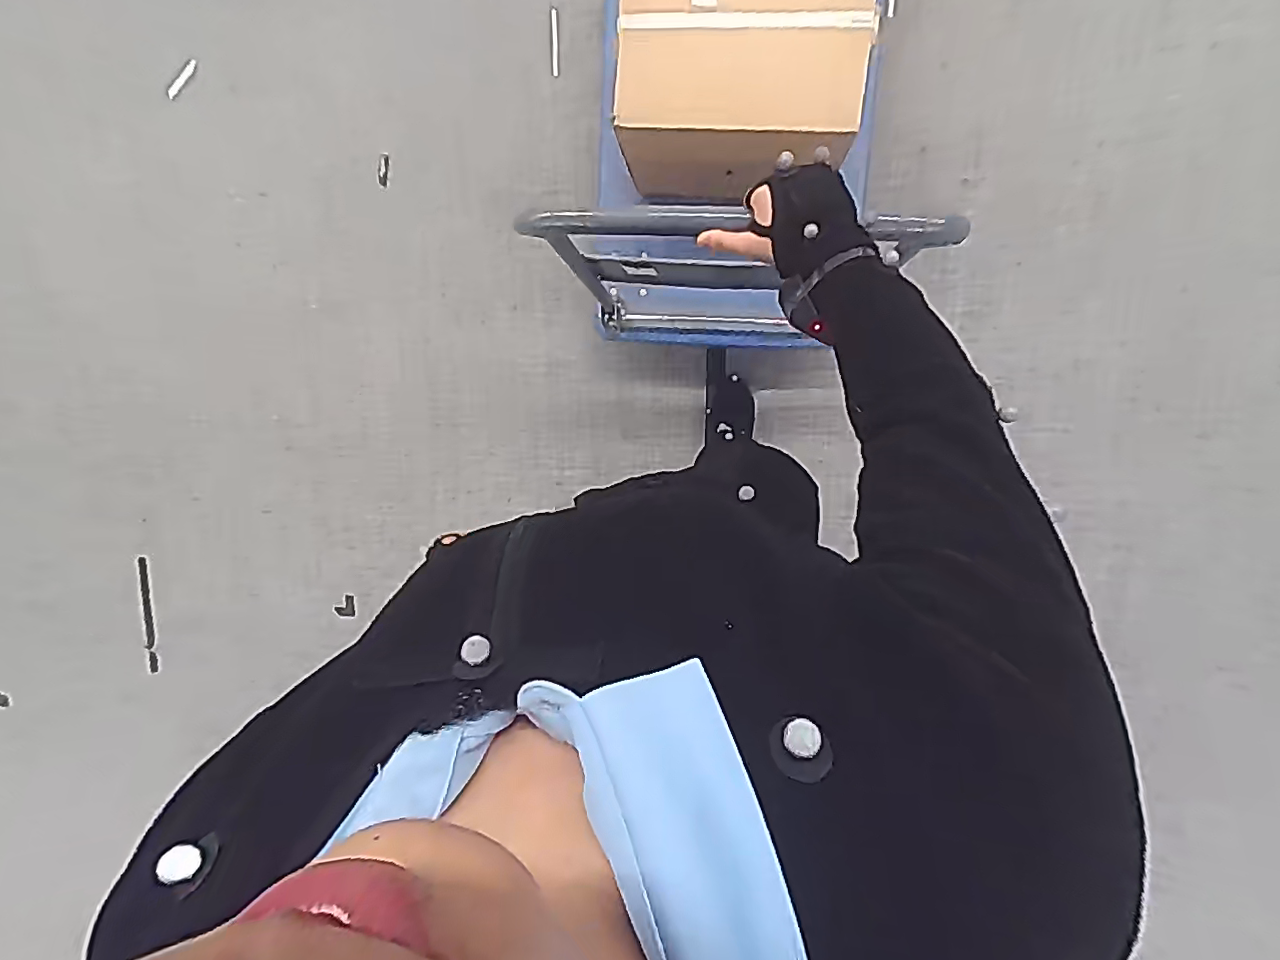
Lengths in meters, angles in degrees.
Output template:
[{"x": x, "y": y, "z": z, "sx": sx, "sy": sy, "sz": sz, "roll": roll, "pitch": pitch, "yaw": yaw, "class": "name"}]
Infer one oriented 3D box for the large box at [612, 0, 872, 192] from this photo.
[{"x": 0.183, "y": -0.751, "z": 1.000, "sx": 0.408, "sy": 0.320, "sz": 0.320, "roll": 6, "pitch": 98, "yaw": 8, "class": "large box"}]
